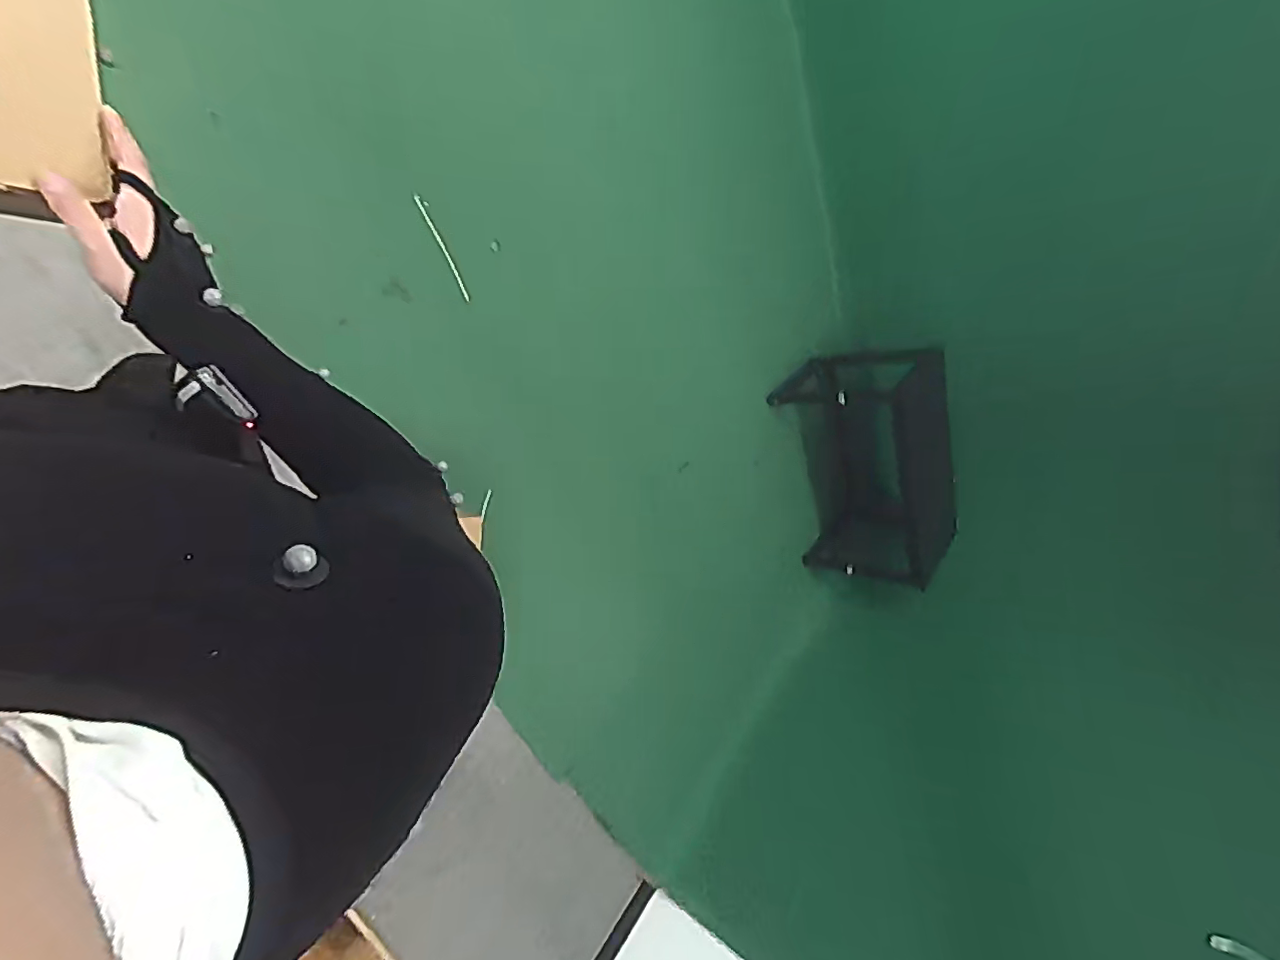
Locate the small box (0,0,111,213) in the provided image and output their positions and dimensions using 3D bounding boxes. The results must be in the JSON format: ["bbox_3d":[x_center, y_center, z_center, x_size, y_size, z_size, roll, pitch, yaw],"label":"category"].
[{"bbox_3d":[-0.544,-0.327,0.419,0.168,0.176,0.179,-11,109,-47],"label":"small box"}]
